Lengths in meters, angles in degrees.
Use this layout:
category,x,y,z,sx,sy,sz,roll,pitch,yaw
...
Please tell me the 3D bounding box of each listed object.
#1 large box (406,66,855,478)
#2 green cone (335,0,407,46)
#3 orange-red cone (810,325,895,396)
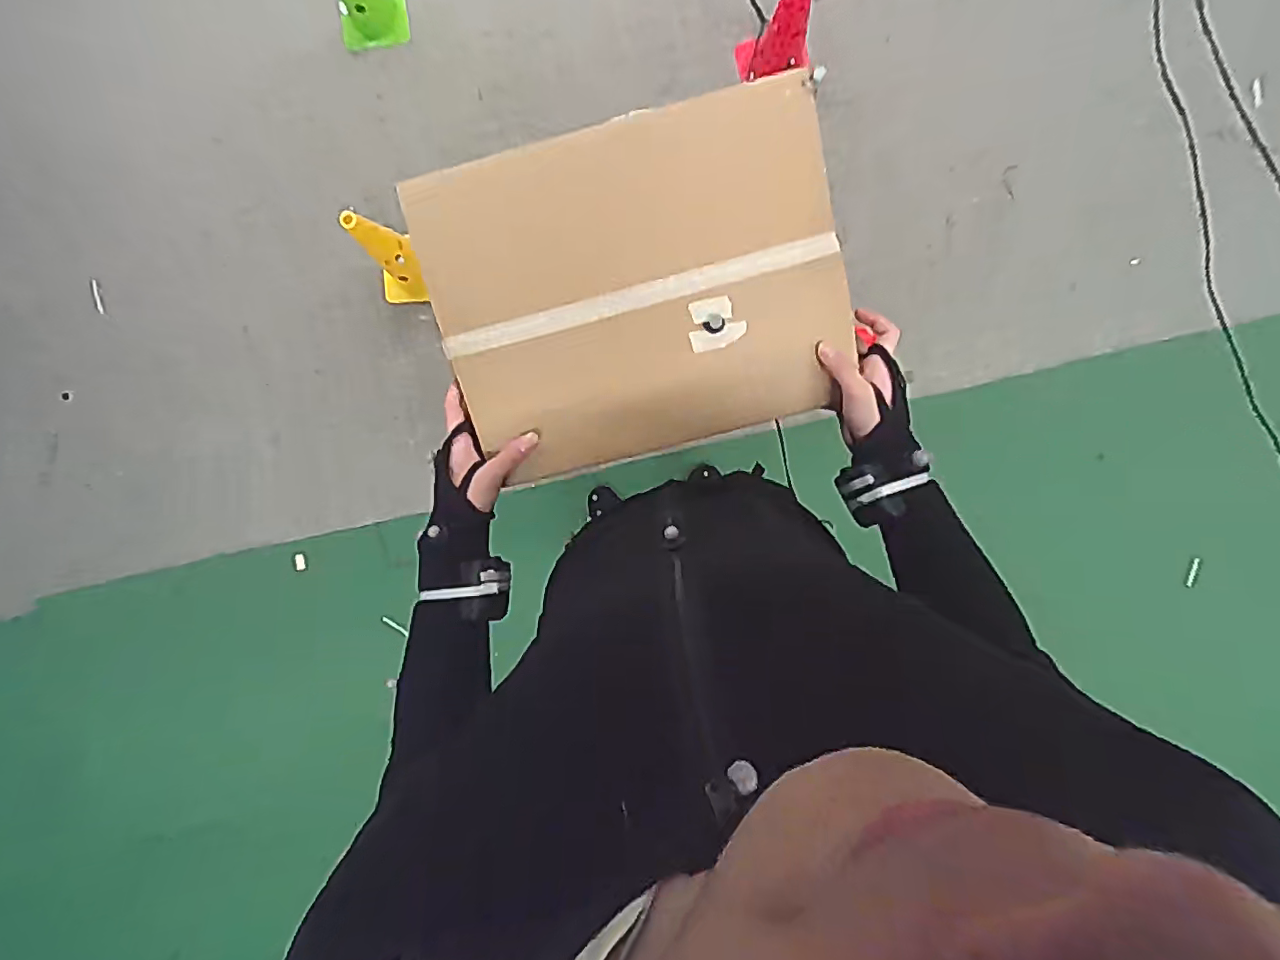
category,x,y,z,sx,sy,sz,roll,pitch,yaw
large box,-0.004,-0.227,0.693,0.408,0.320,0.320,-15,104,2
green cone,-0.801,-1.375,1.415,0.200,0.368,0.202,-7,94,3
orange-red cone,0.574,-0.337,1.416,0.199,0.360,0.198,-6,94,1
